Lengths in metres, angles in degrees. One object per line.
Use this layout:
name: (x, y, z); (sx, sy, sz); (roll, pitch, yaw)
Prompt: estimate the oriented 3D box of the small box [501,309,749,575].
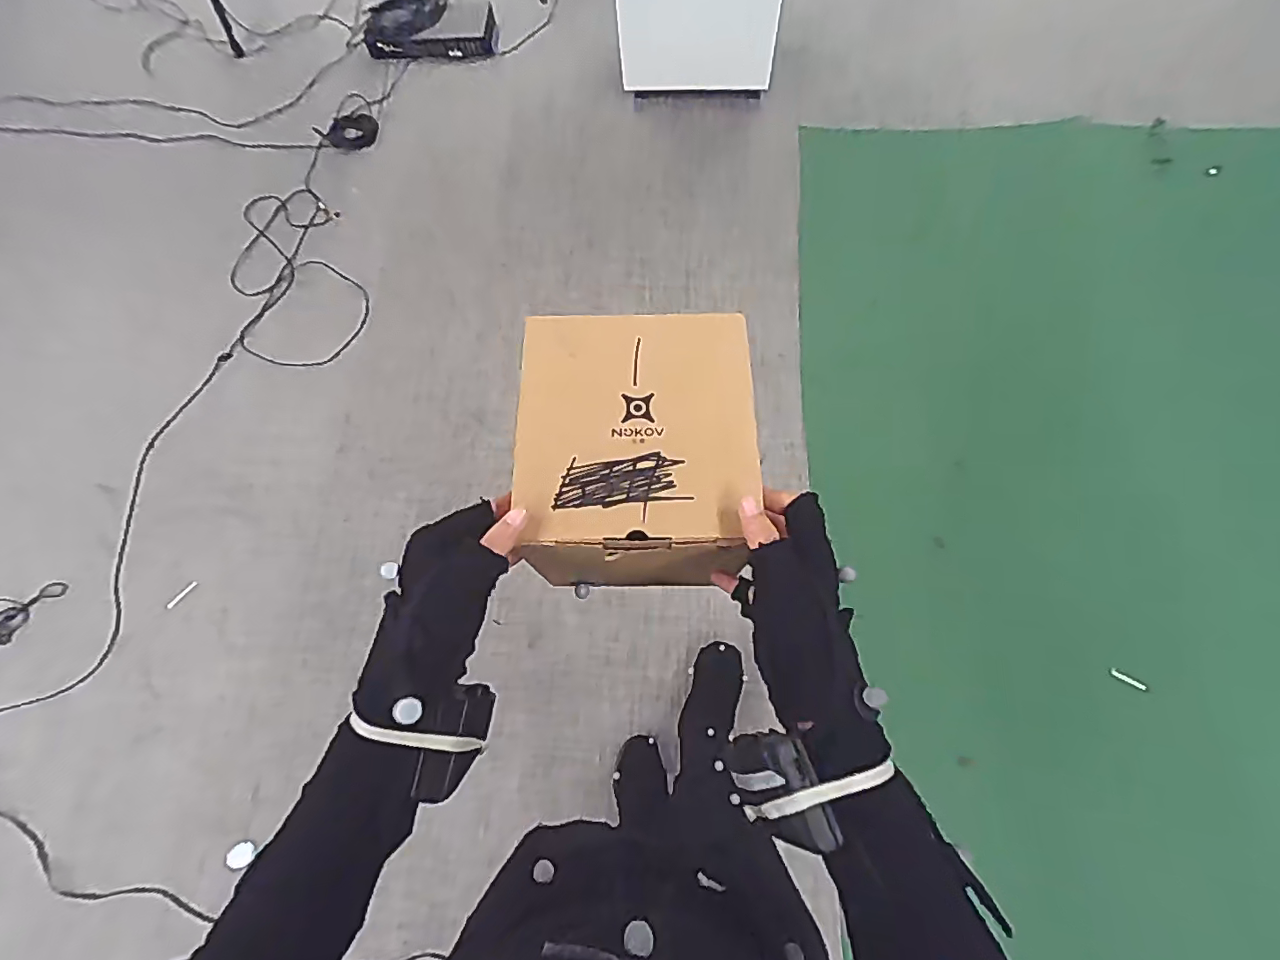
small box: (-0.007, -0.018, 0.451); (0.168, 0.176, 0.179); (0, 69, 1)
